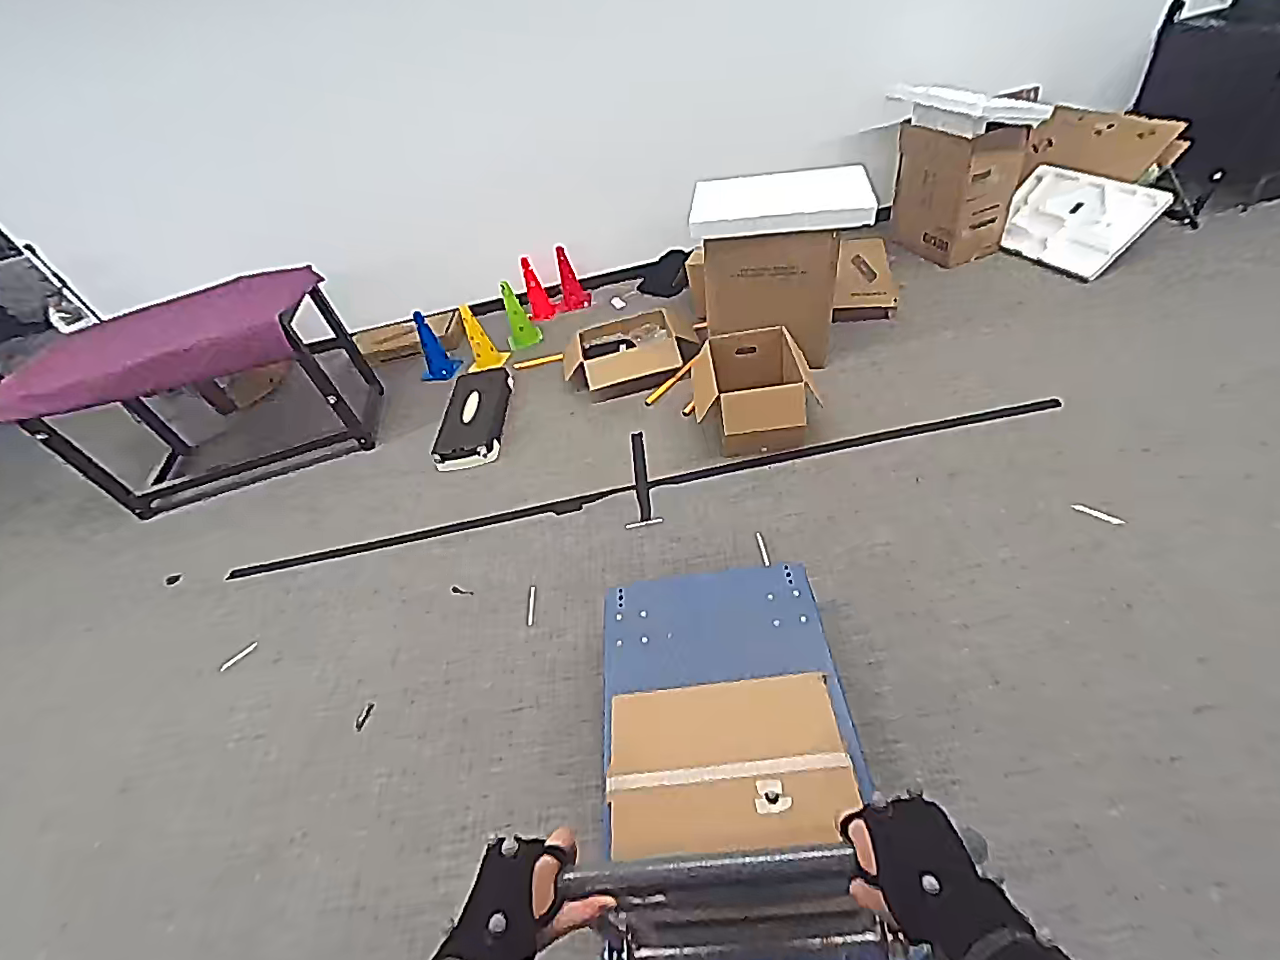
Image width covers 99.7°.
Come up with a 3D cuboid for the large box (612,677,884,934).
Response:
[{"bbox_3d":[0.174,0.603,0.998,0.408,0.320,0.320,-9,44,5],"label":"large box"}]
